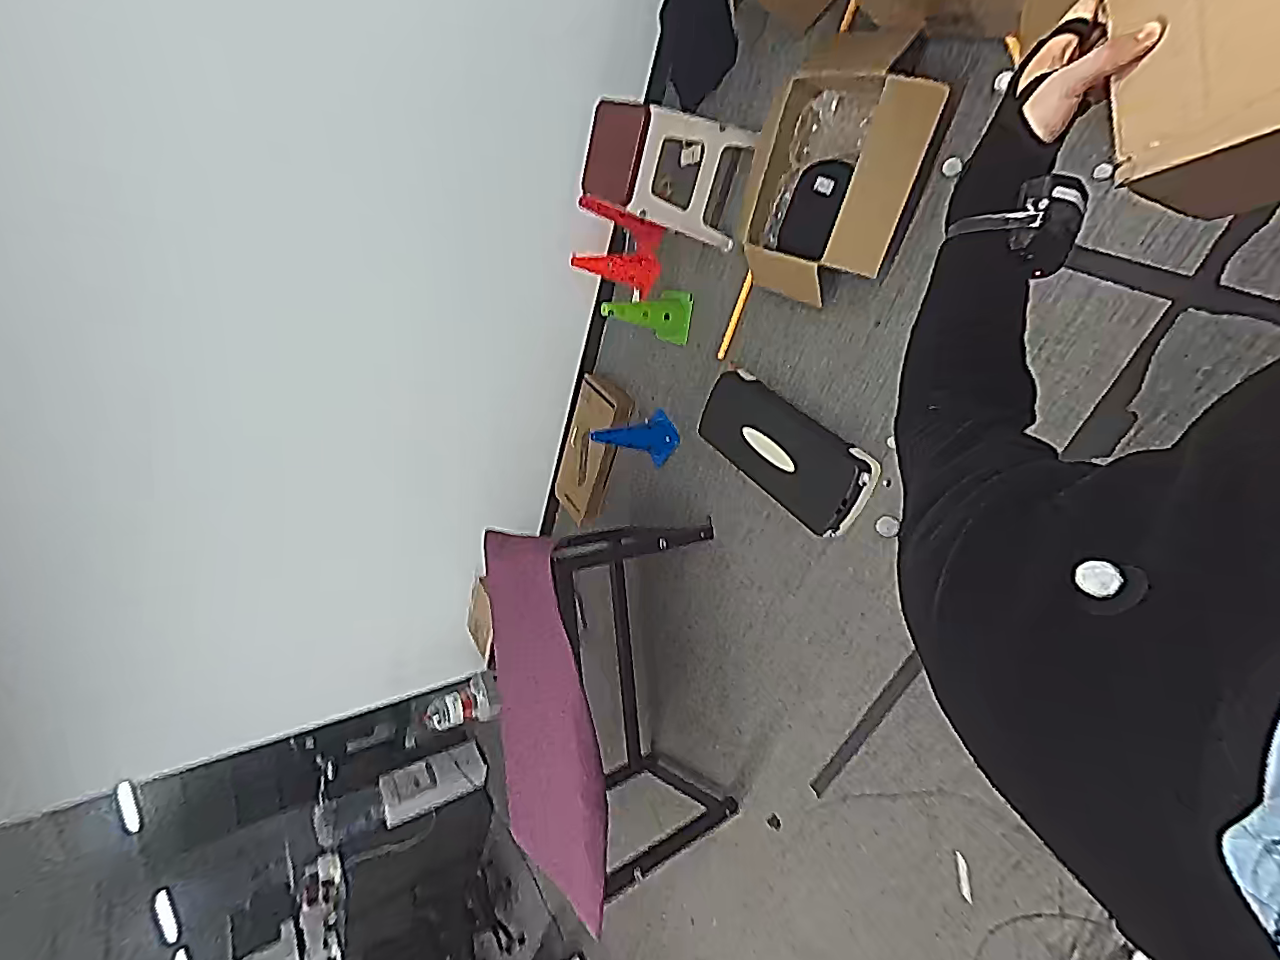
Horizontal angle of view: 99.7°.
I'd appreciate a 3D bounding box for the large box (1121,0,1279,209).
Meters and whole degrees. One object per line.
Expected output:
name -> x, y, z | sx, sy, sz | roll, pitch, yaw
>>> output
large box -> 0.591, -0.409, 0.318 | 0.408, 0.320, 0.320 | 0, 99, 57
